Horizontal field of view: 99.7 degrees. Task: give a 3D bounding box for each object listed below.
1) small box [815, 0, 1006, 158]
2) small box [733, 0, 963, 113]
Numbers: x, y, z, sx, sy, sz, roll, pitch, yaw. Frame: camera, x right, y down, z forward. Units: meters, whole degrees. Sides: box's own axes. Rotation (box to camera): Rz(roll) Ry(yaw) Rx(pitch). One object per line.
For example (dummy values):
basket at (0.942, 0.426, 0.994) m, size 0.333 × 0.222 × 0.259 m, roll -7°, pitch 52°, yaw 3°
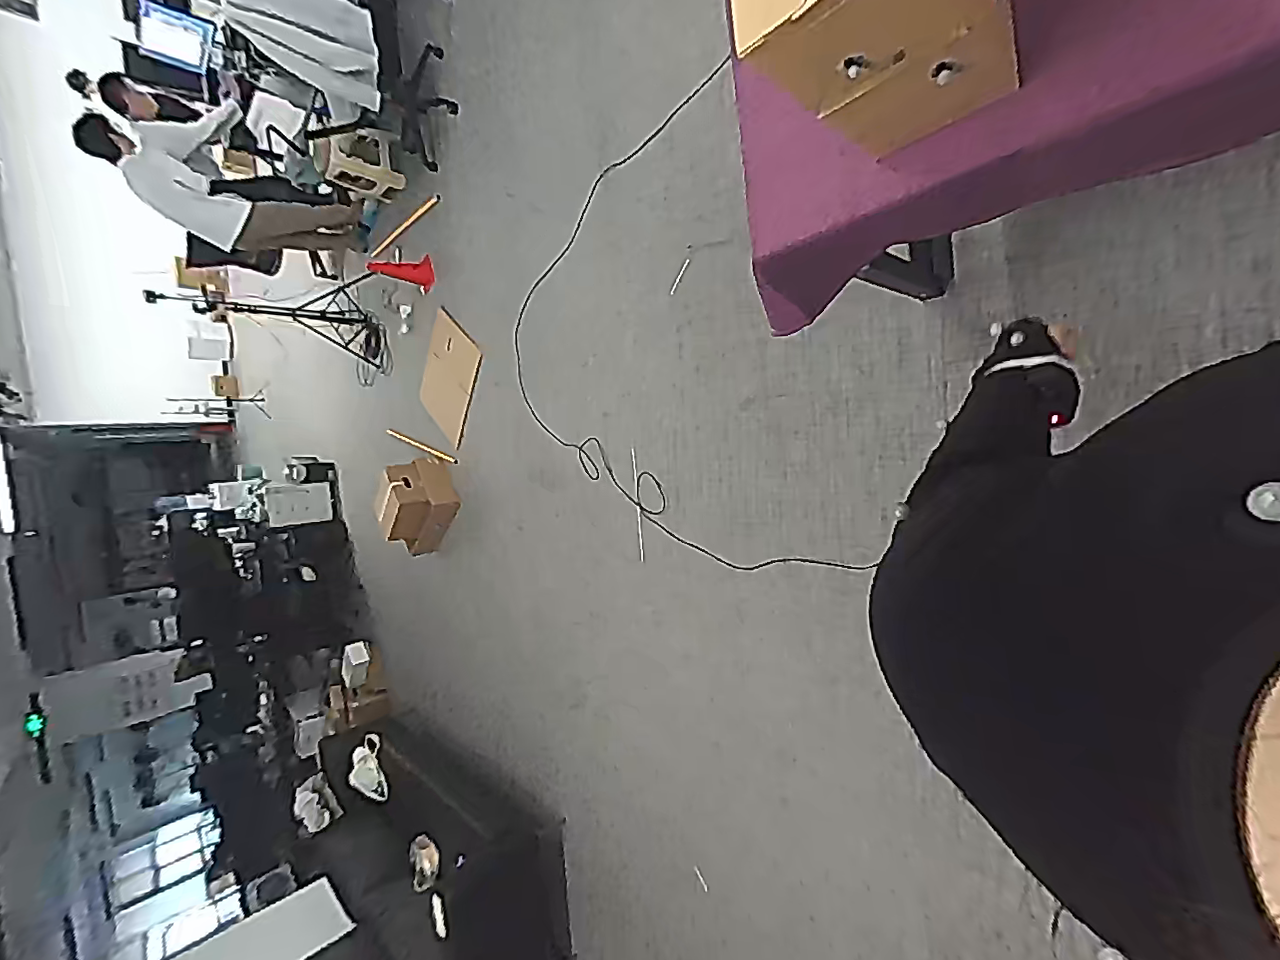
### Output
small box at (0.326, -0.533, 0.656) m, size 0.179 × 0.176 × 0.168 m, roll -5°, pitch 91°, yaw 46°
small box at (0.206, -0.523, 0.545) m, size 0.168 × 0.176 × 0.179 m, roll -5°, pitch 93°, yaw 46°
